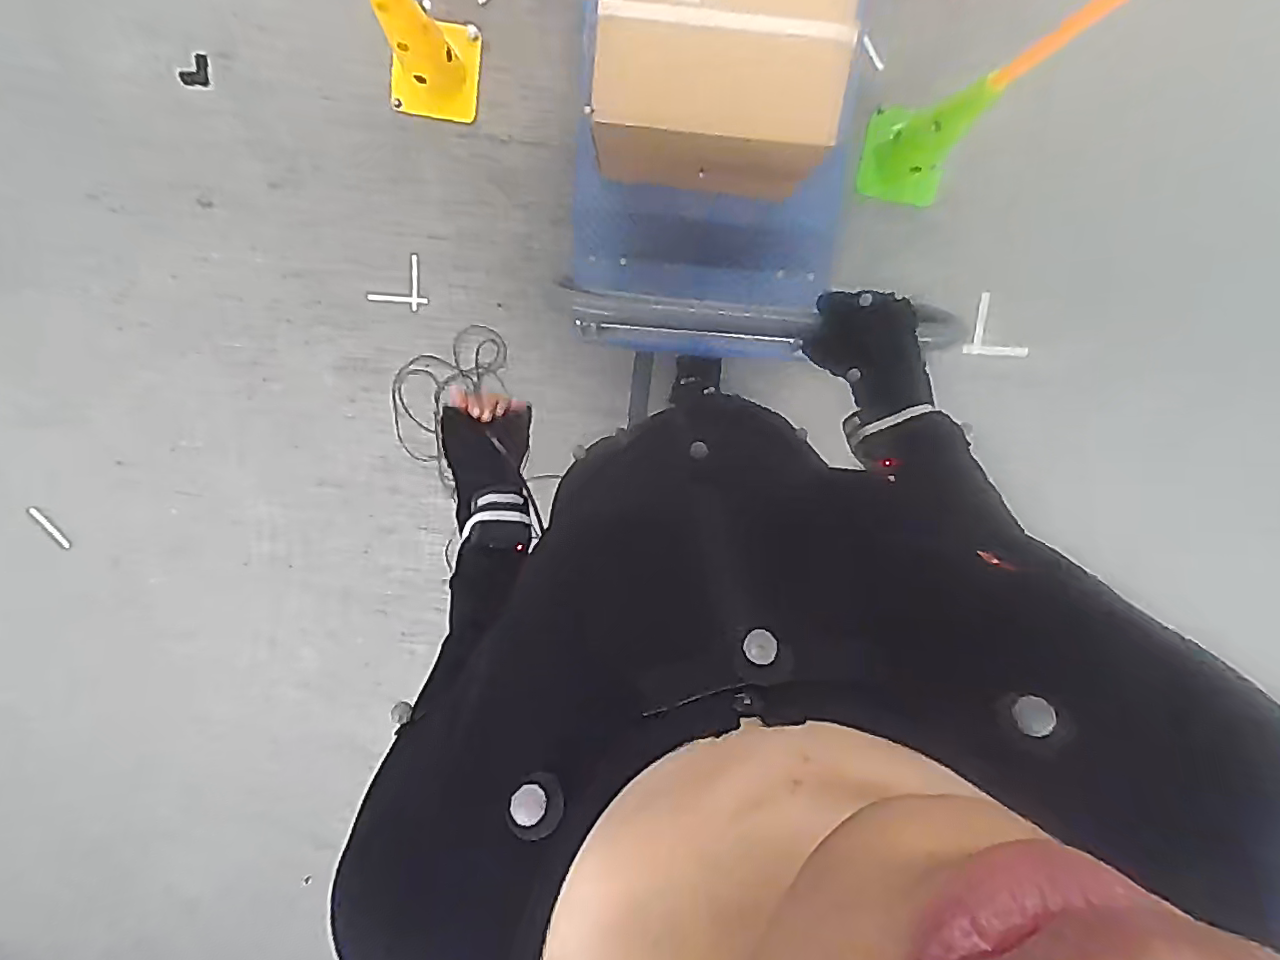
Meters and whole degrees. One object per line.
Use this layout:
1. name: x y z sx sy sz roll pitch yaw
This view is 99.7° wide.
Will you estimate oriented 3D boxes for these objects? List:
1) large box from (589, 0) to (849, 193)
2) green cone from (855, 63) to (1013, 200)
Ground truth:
1. large box: 0.128 -0.746 0.995 0.408 0.320 0.320 5 103 -1
2. green cone: 0.640 -0.761 1.142 0.202 0.368 0.200 9 102 -4
